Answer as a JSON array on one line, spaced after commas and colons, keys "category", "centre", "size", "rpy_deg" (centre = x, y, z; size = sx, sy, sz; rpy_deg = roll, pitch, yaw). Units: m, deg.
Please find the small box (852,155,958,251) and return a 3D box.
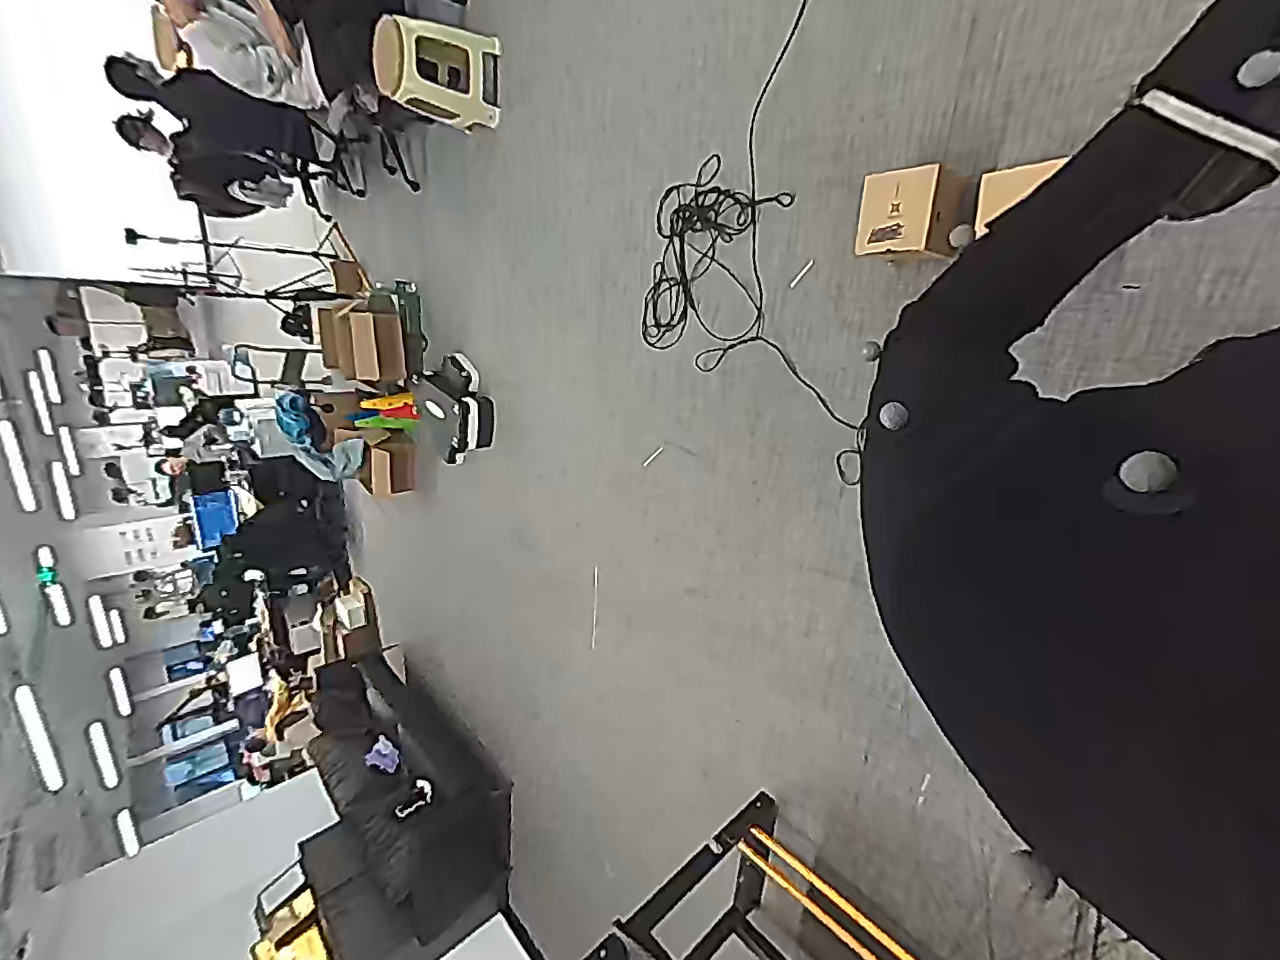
[{"category": "small box", "centre": [0.628, -0.643, 1.280], "size": [0.168, 0.176, 0.179], "rpy_deg": [18, 113, 43]}]
